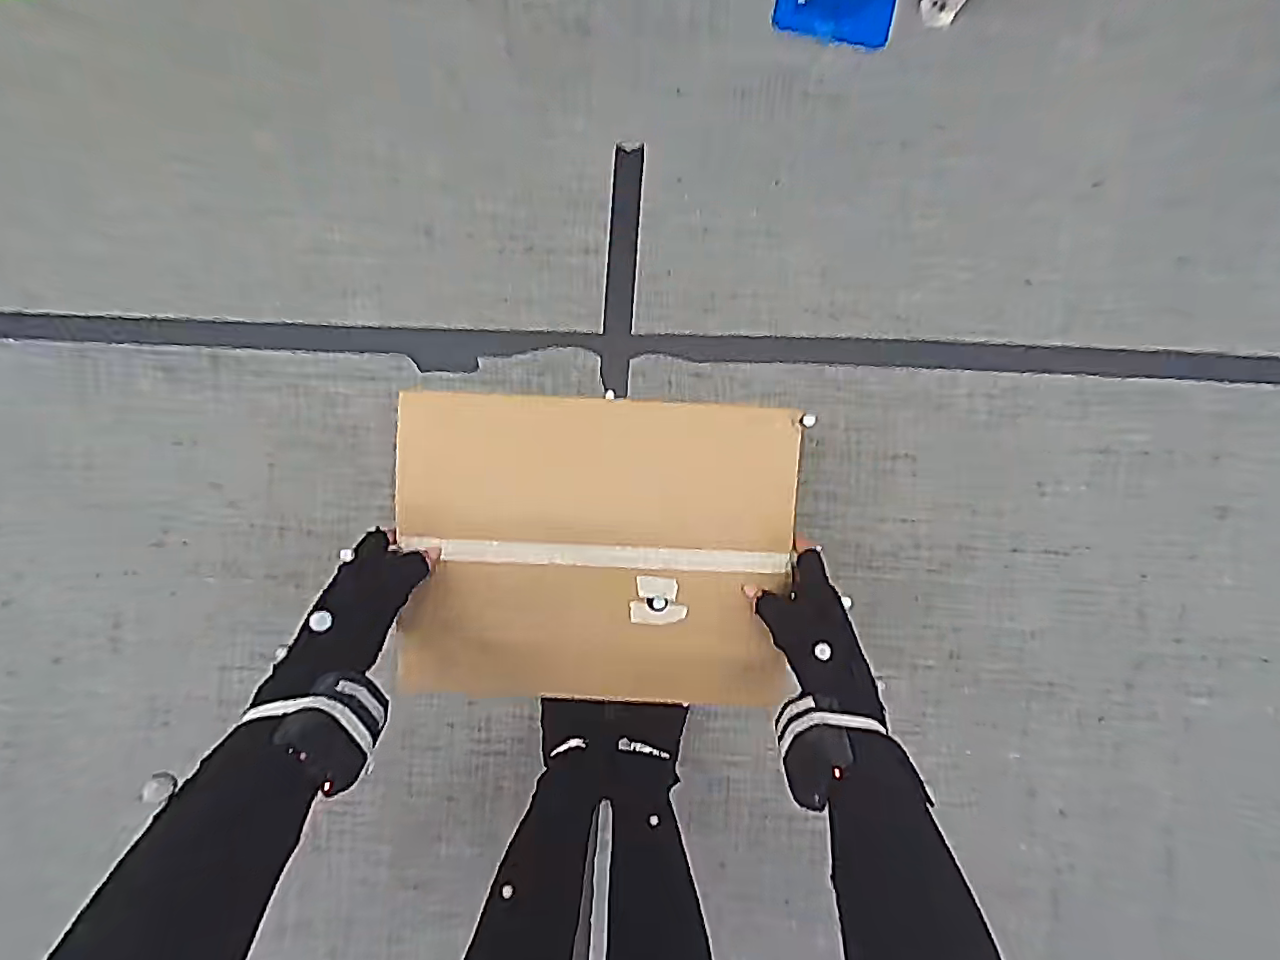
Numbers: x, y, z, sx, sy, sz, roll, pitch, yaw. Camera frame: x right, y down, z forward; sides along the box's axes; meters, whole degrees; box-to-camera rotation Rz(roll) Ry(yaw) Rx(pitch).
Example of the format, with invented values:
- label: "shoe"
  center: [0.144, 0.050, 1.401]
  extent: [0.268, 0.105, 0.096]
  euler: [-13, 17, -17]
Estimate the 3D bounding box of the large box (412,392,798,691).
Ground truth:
- label: "large box"
  center: [-0.044, 0.058, 0.716]
  extent: [0.408, 0.320, 0.320]
  euler: [3, 96, -1]
